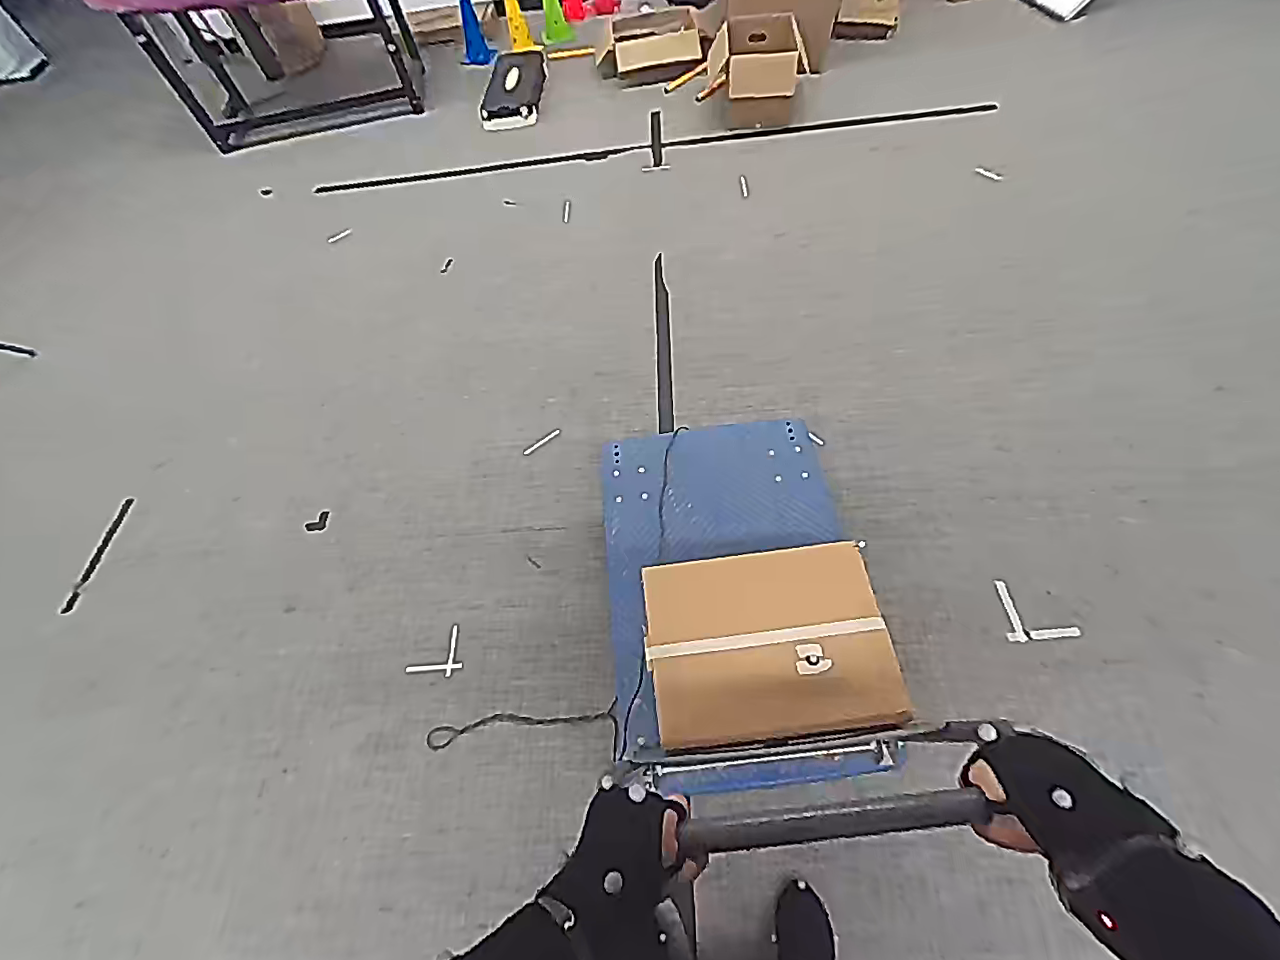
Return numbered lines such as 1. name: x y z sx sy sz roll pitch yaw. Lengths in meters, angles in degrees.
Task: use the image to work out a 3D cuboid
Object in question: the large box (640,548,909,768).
1. large box: 0.224 0.359 1.054 0.408 0.320 0.320 -8 61 1
